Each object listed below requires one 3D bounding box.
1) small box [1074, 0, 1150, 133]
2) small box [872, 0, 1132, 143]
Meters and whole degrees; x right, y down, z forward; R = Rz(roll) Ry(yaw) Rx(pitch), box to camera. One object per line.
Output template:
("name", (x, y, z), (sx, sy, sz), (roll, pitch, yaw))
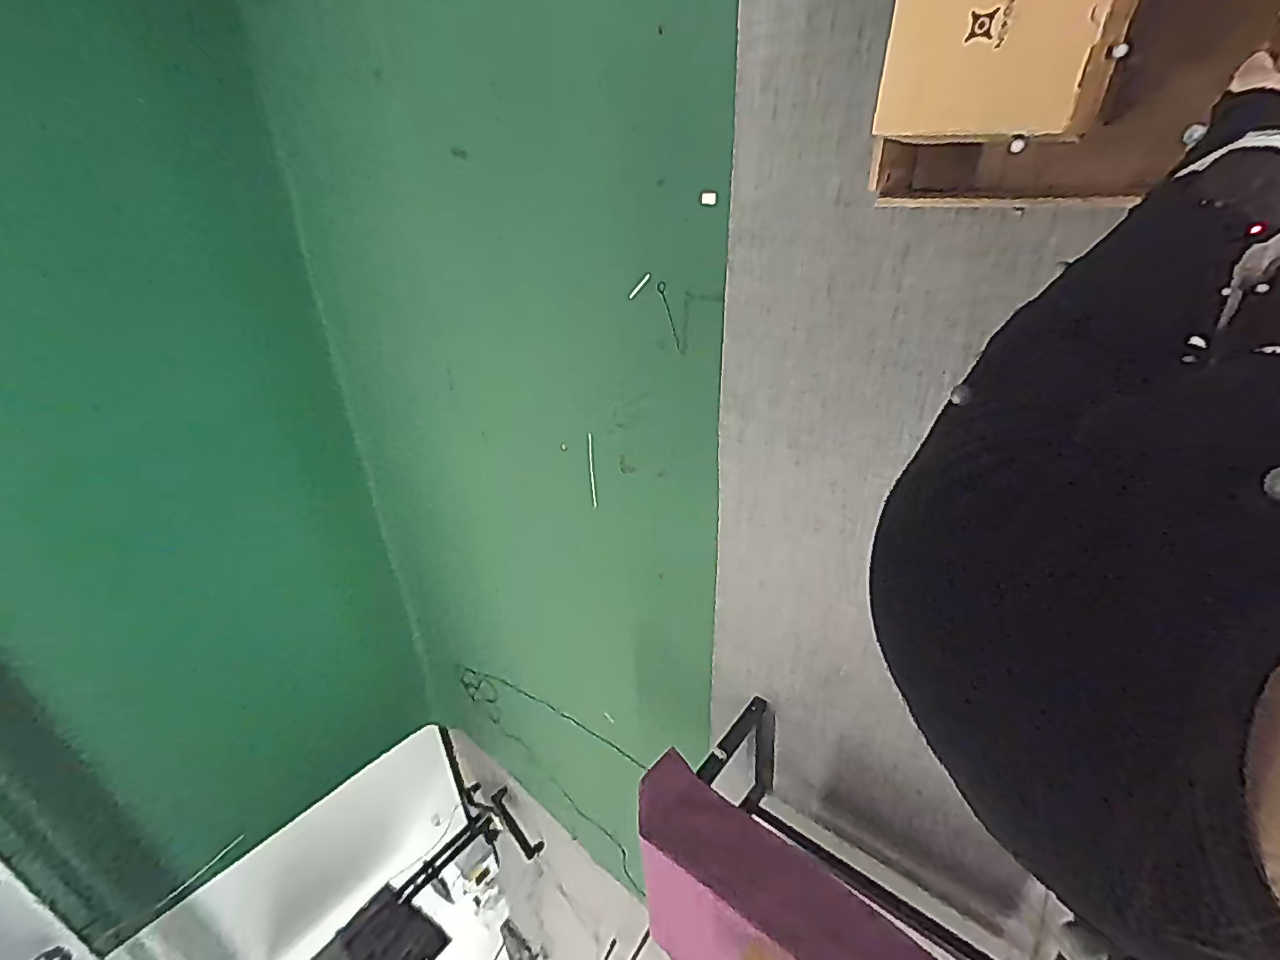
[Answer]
("small box", (0.473, -0.514, 0.645), (0.179, 0.176, 0.168), (22, 126, 34))
("small box", (0.366, -0.441, 0.545), (0.179, 0.176, 0.168), (23, 126, 33))
